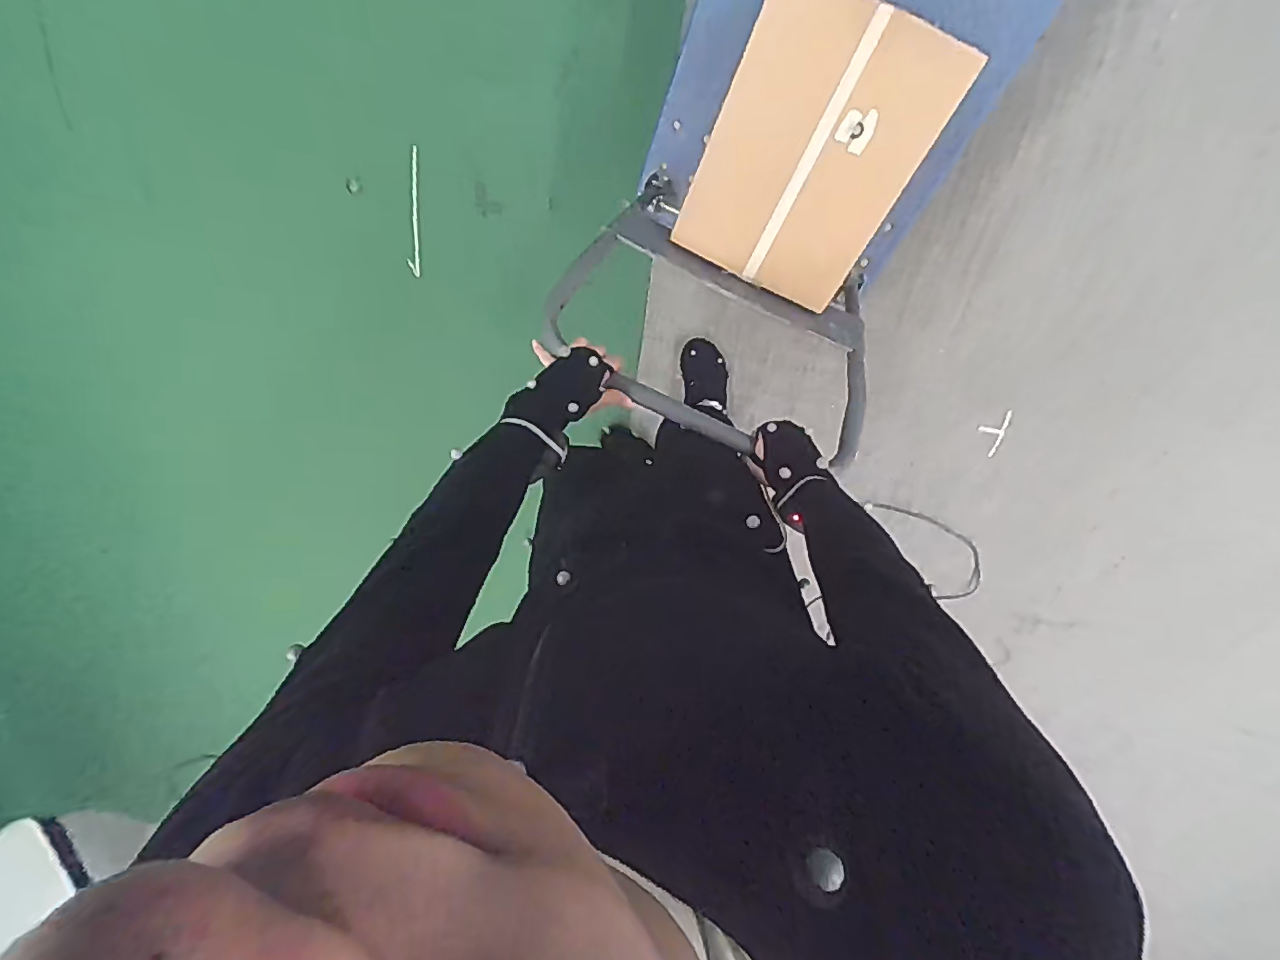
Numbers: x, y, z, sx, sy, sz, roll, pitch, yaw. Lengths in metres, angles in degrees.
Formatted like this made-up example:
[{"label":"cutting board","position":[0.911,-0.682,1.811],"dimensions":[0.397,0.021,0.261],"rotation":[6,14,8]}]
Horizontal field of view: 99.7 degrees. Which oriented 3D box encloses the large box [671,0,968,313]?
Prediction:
[{"label":"large box","position":[0.299,-0.595,0.993],"dimensions":[0.320,0.320,0.408],"rotation":[26,129,-2]}]
